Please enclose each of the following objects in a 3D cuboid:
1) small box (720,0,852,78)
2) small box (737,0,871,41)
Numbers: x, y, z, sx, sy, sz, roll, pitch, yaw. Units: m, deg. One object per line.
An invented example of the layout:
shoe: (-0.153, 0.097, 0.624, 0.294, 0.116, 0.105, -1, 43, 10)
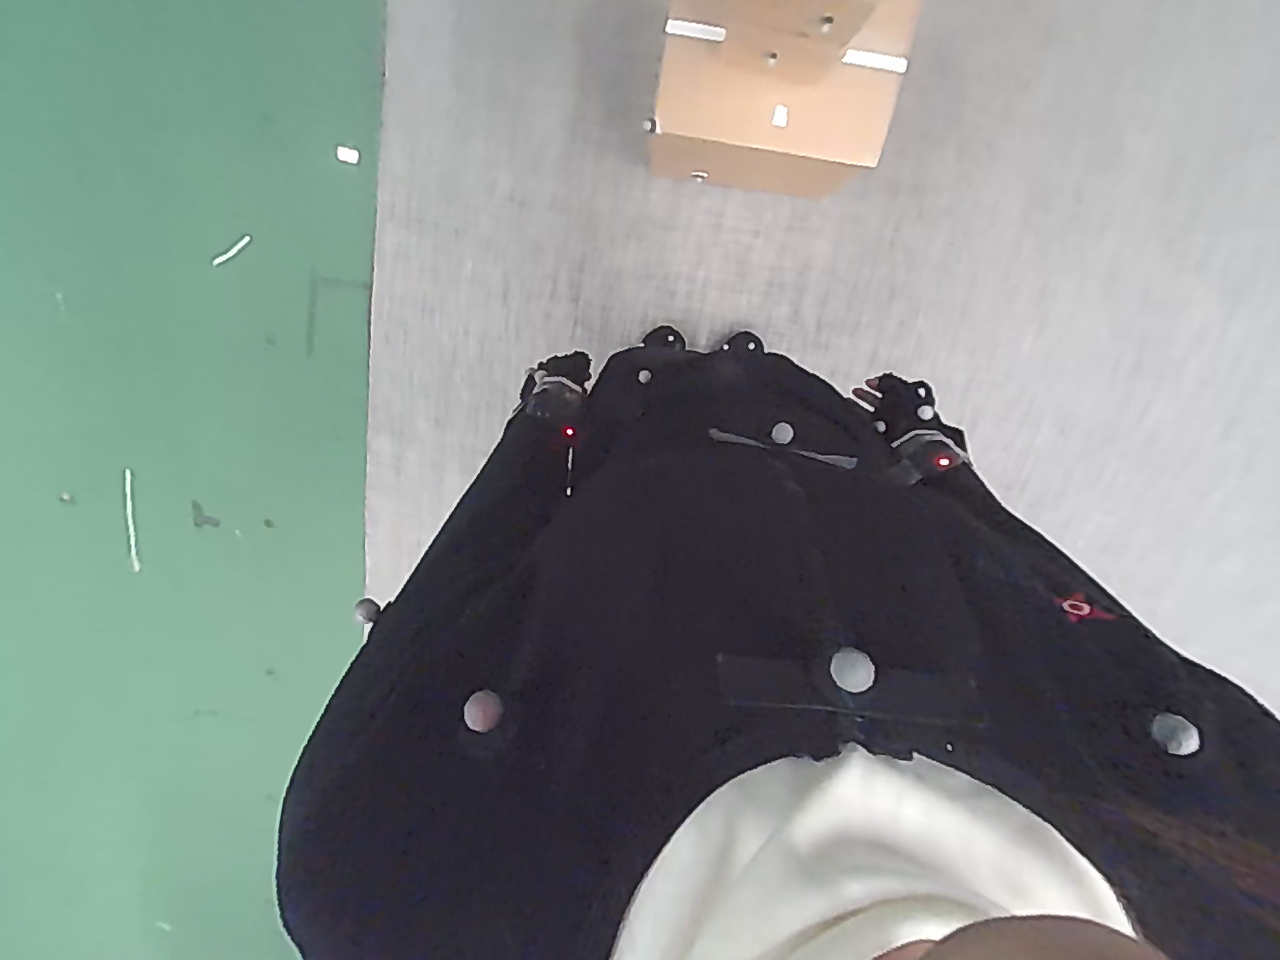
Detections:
small box: (0.232, -0.735, 0.804, 0.179, 0.176, 0.168, 16, 111, -4)
small box: (0.221, -0.678, 0.656, 0.168, 0.176, 0.179, 12, 112, -4)
